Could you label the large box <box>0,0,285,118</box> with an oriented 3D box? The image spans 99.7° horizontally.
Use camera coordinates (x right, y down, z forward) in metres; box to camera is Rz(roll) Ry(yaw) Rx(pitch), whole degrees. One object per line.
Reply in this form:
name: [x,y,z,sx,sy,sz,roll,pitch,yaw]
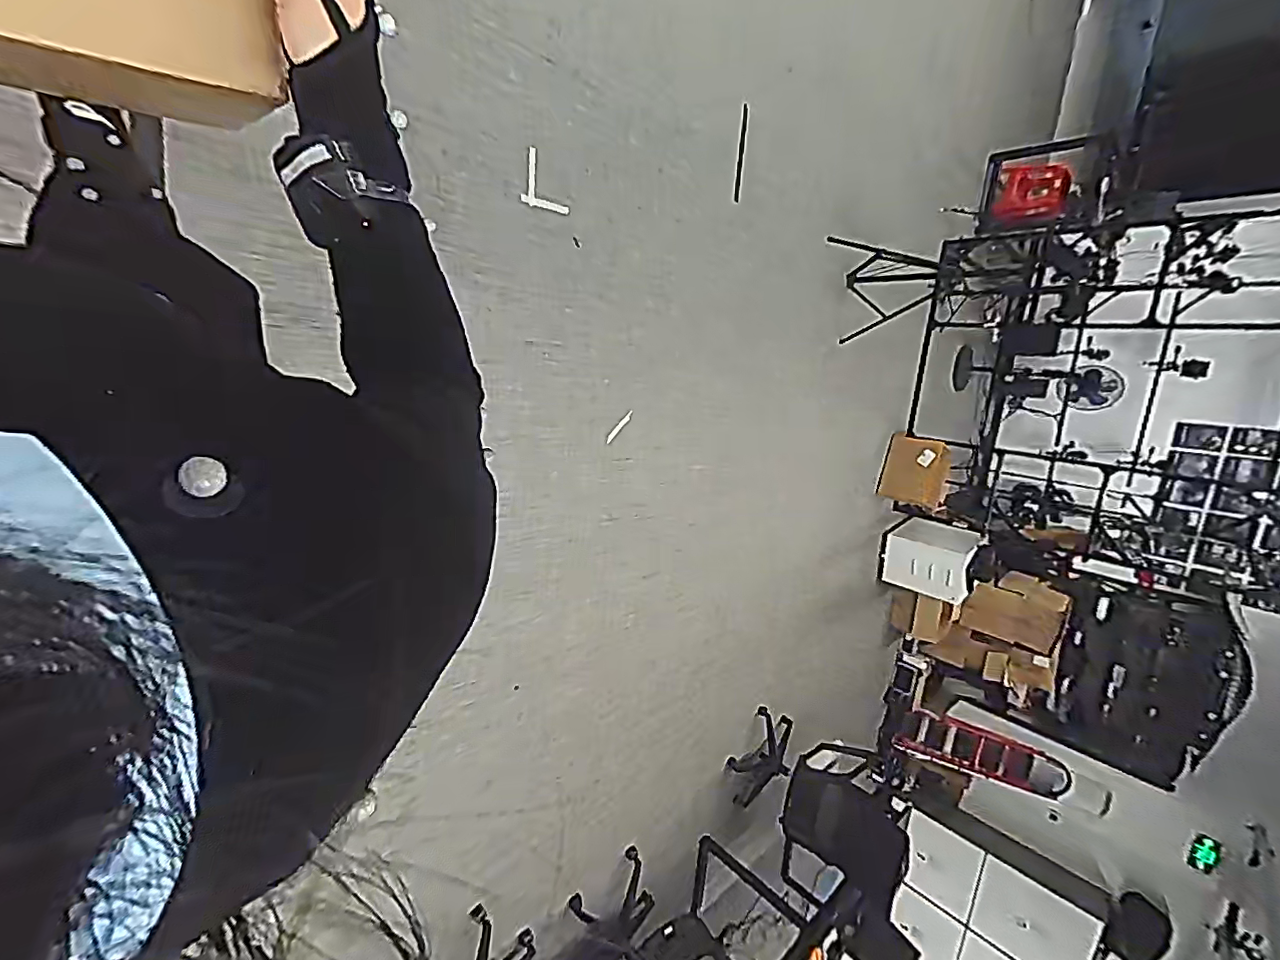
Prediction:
large box: [-0.499,-0.456,0.338,0.408,0.320,0.320,-12,119,-37]
